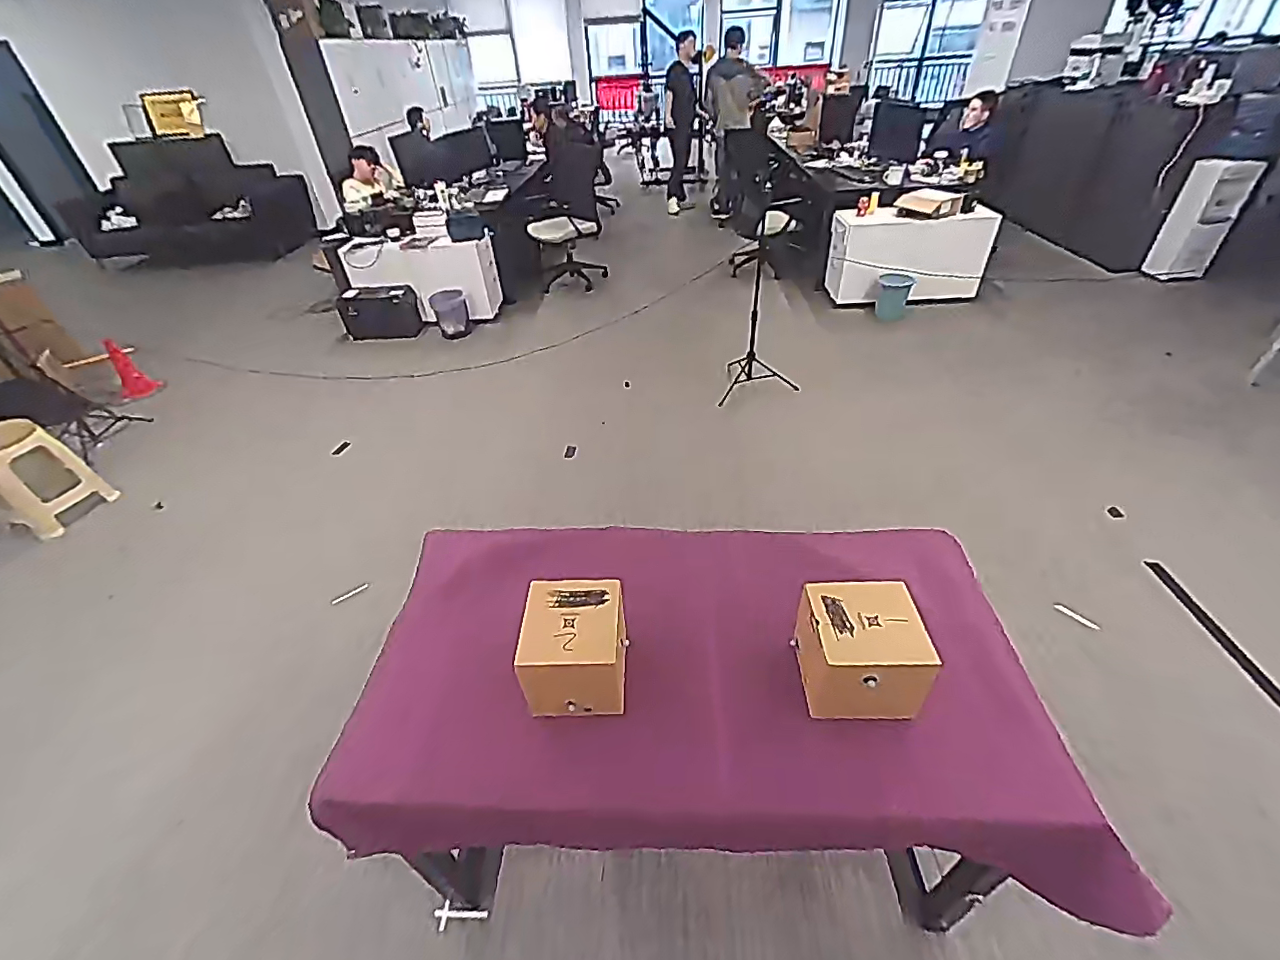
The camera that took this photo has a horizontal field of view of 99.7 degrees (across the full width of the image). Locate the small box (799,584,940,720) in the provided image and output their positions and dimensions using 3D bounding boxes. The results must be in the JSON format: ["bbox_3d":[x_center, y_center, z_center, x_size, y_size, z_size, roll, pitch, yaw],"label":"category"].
[{"bbox_3d":[0.380,0.298,0.937,0.179,0.176,0.168,-1,39,3],"label":"small box"}]
